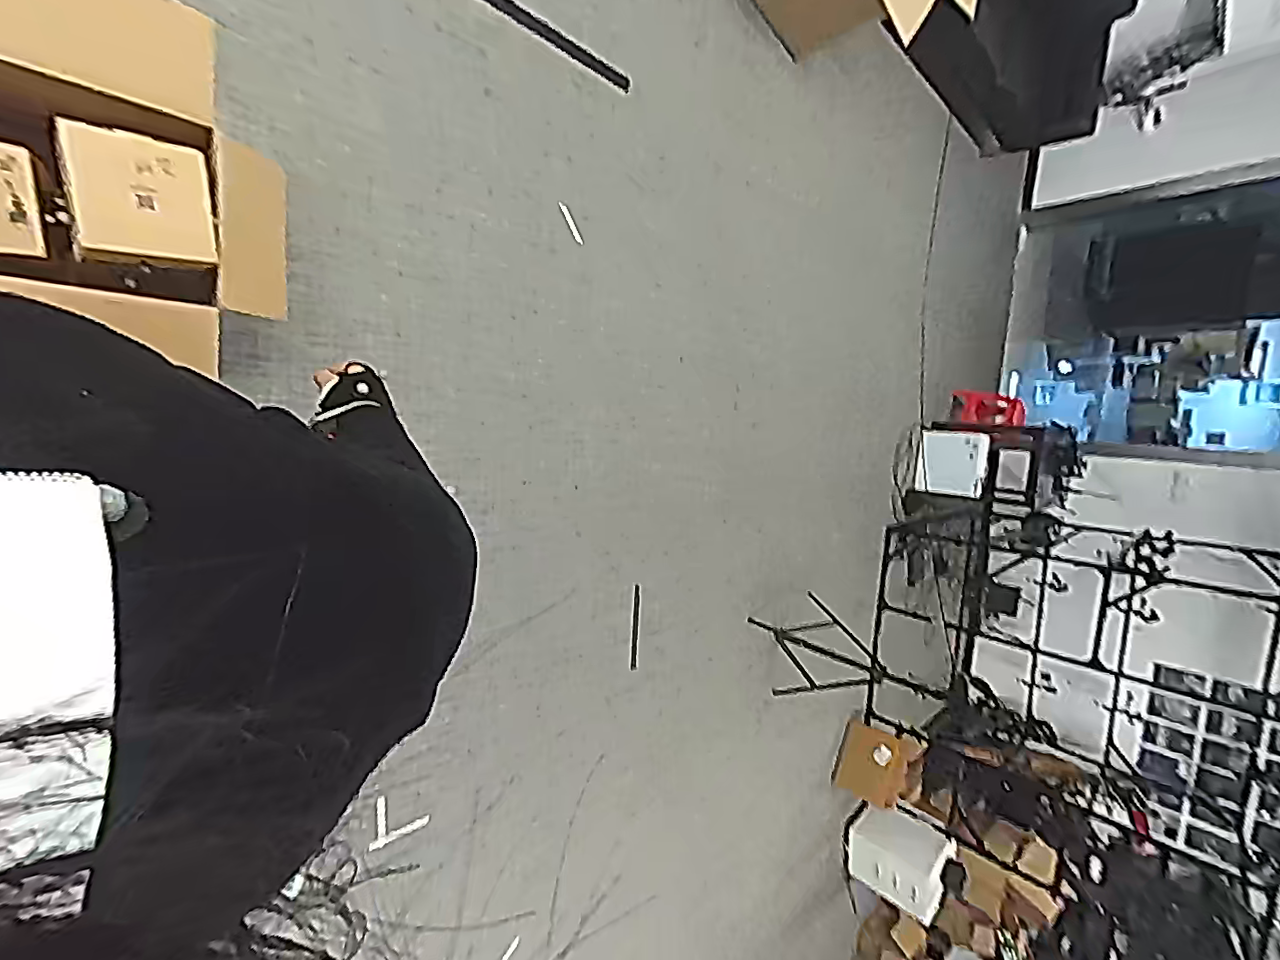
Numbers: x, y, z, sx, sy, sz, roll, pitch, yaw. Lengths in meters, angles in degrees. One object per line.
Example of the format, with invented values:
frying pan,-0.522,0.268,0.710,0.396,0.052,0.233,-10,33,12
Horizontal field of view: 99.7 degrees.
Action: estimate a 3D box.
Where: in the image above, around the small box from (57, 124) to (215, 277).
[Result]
small box,-0.831,-0.443,0.895,0.168,0.176,0.179,-11,105,-46
